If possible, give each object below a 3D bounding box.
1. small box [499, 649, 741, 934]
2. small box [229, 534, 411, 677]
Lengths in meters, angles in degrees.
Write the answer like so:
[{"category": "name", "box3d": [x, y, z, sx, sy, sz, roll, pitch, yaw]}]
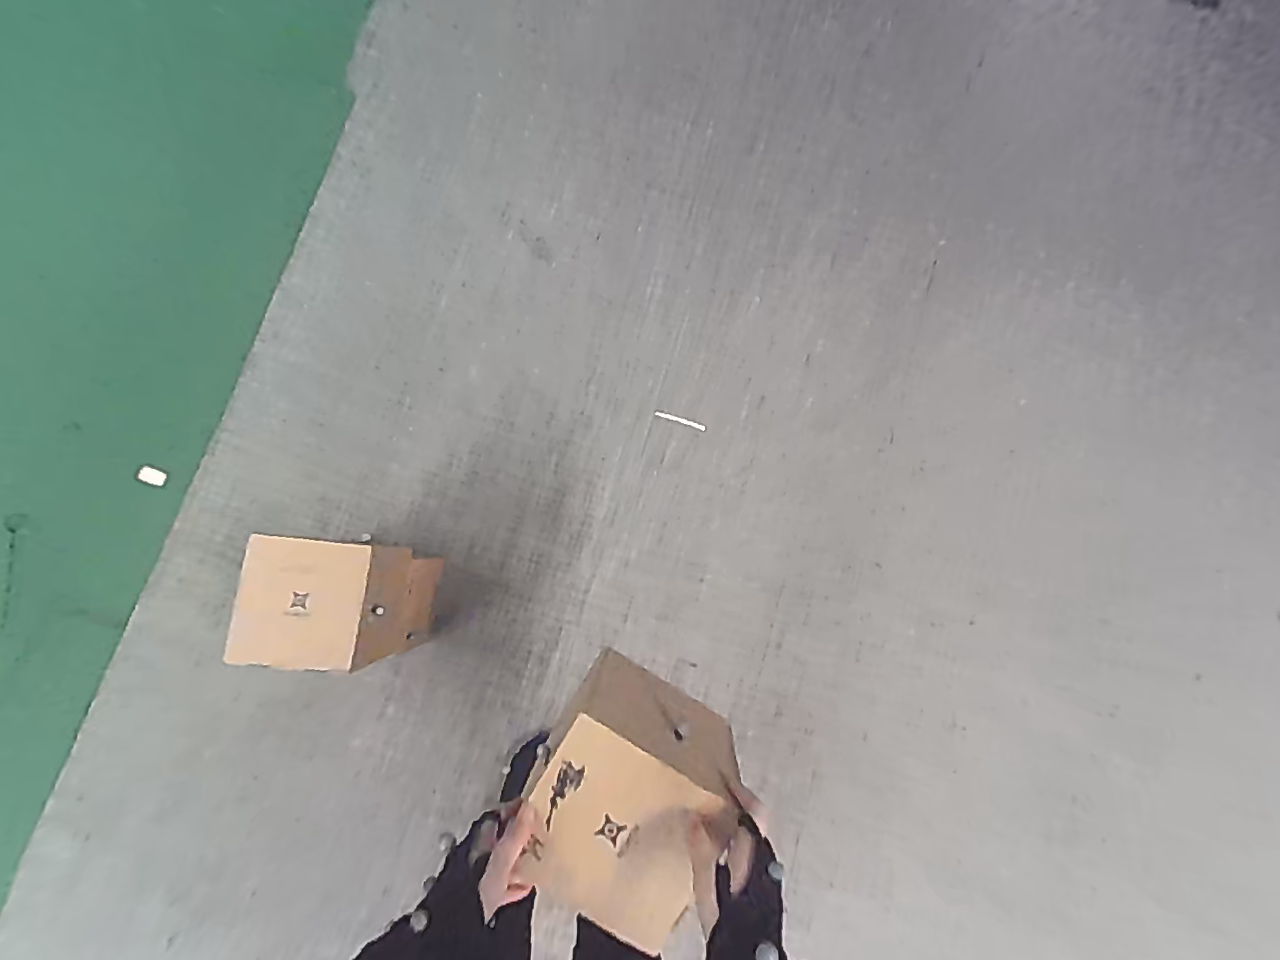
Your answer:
[{"category": "small box", "box3d": [-0.015, 0.312, 0.583, 0.179, 0.176, 0.168, 30, 95, 2]}, {"category": "small box", "box3d": [-0.464, 0.181, 0.814, 0.168, 0.176, 0.179, 7, 81, -3]}]
